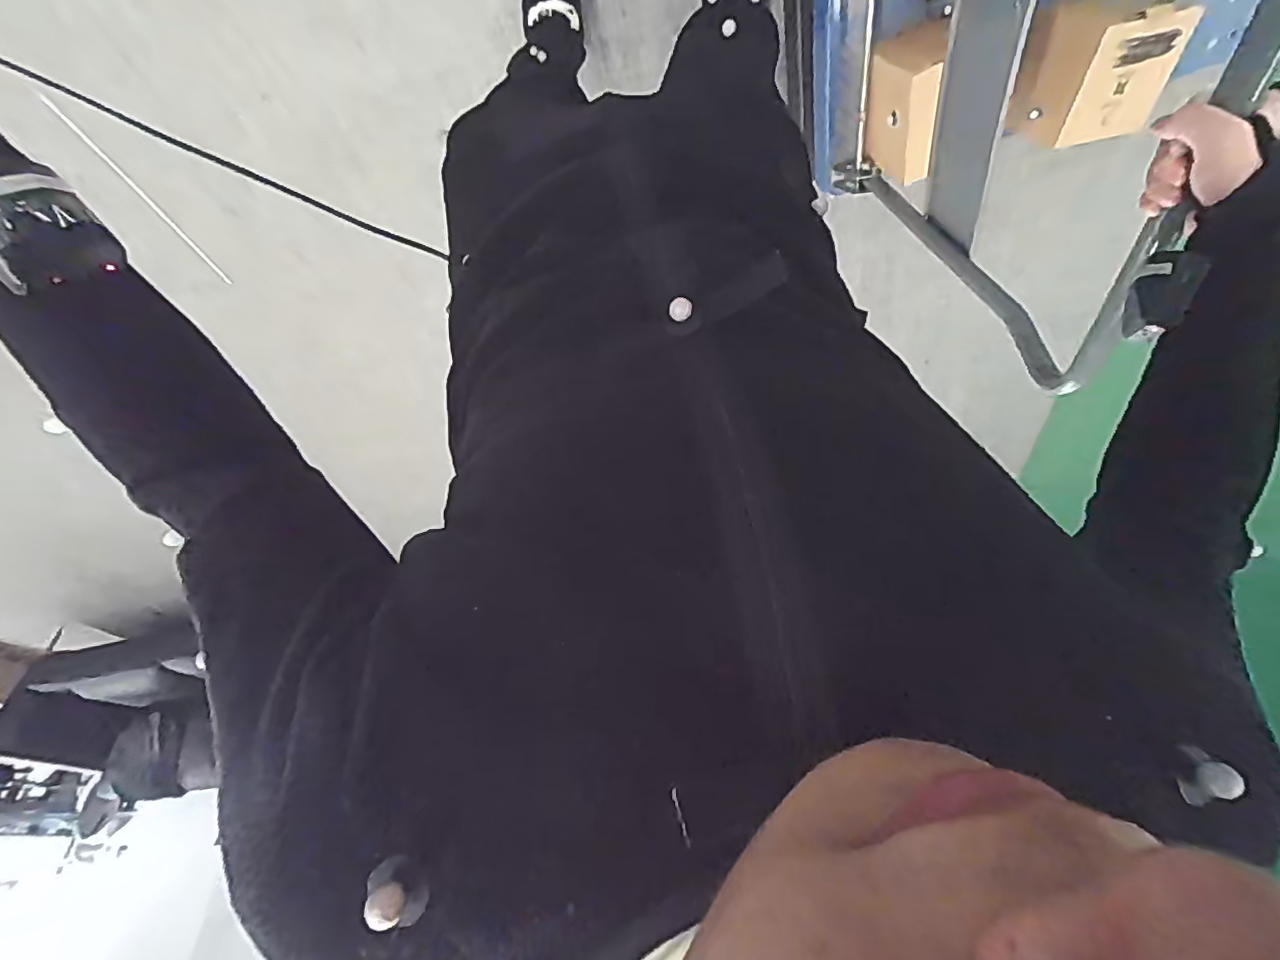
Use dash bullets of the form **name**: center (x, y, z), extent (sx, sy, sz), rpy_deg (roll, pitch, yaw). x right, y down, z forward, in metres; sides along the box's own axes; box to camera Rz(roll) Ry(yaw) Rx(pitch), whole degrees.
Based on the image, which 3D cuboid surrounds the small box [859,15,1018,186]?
- **small box**: center (0.486, -0.645, 0.913), extent (0.168, 0.176, 0.179), rpy_deg (-20, 142, 6)
